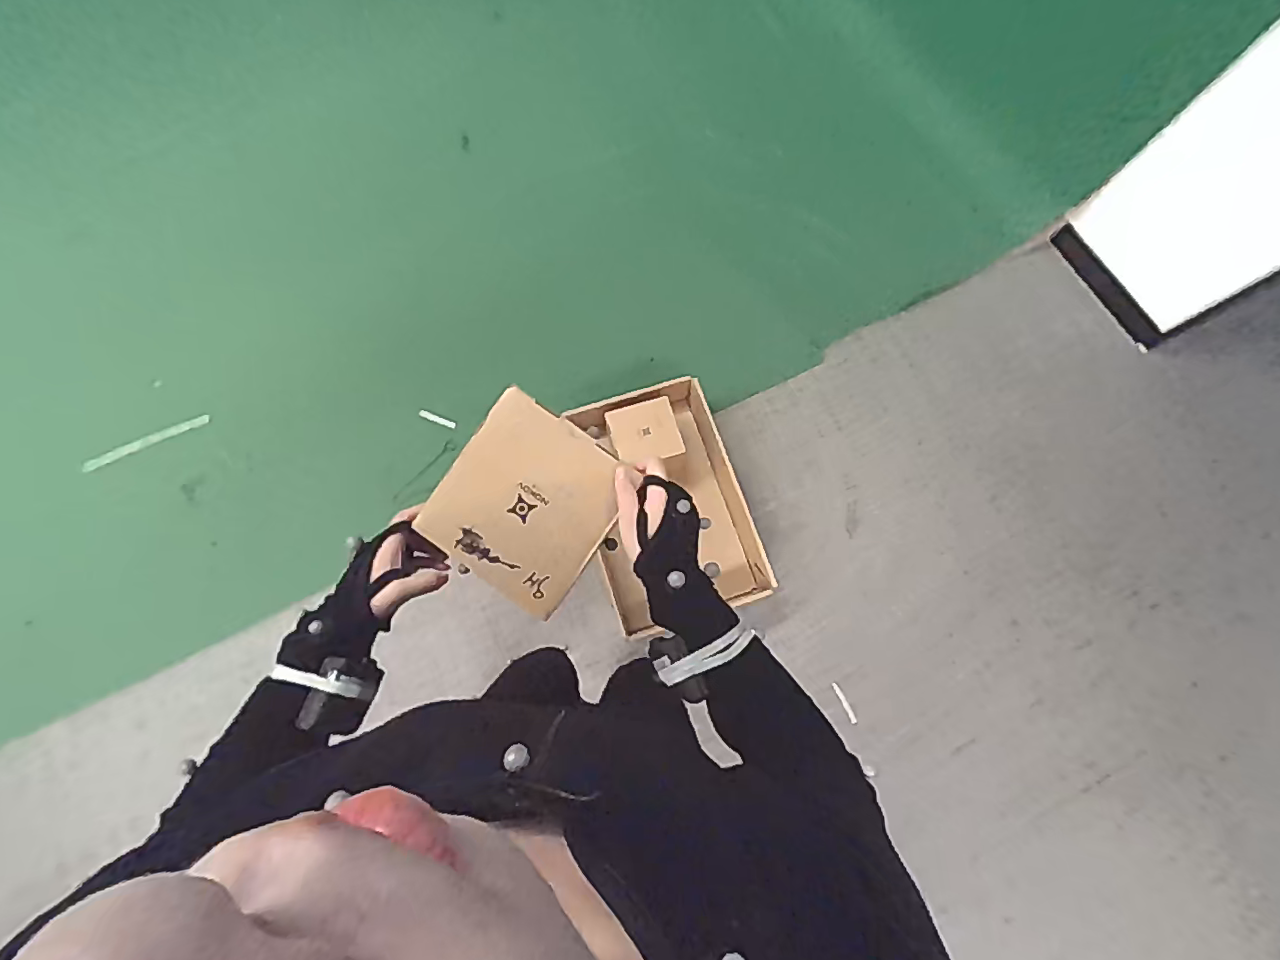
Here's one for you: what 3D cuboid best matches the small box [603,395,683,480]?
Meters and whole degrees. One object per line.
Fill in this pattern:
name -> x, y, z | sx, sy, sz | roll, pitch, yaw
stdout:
small box -> 0.006, -0.109, 1.477 | 0.179, 0.176, 0.168 | -15, 77, -5
